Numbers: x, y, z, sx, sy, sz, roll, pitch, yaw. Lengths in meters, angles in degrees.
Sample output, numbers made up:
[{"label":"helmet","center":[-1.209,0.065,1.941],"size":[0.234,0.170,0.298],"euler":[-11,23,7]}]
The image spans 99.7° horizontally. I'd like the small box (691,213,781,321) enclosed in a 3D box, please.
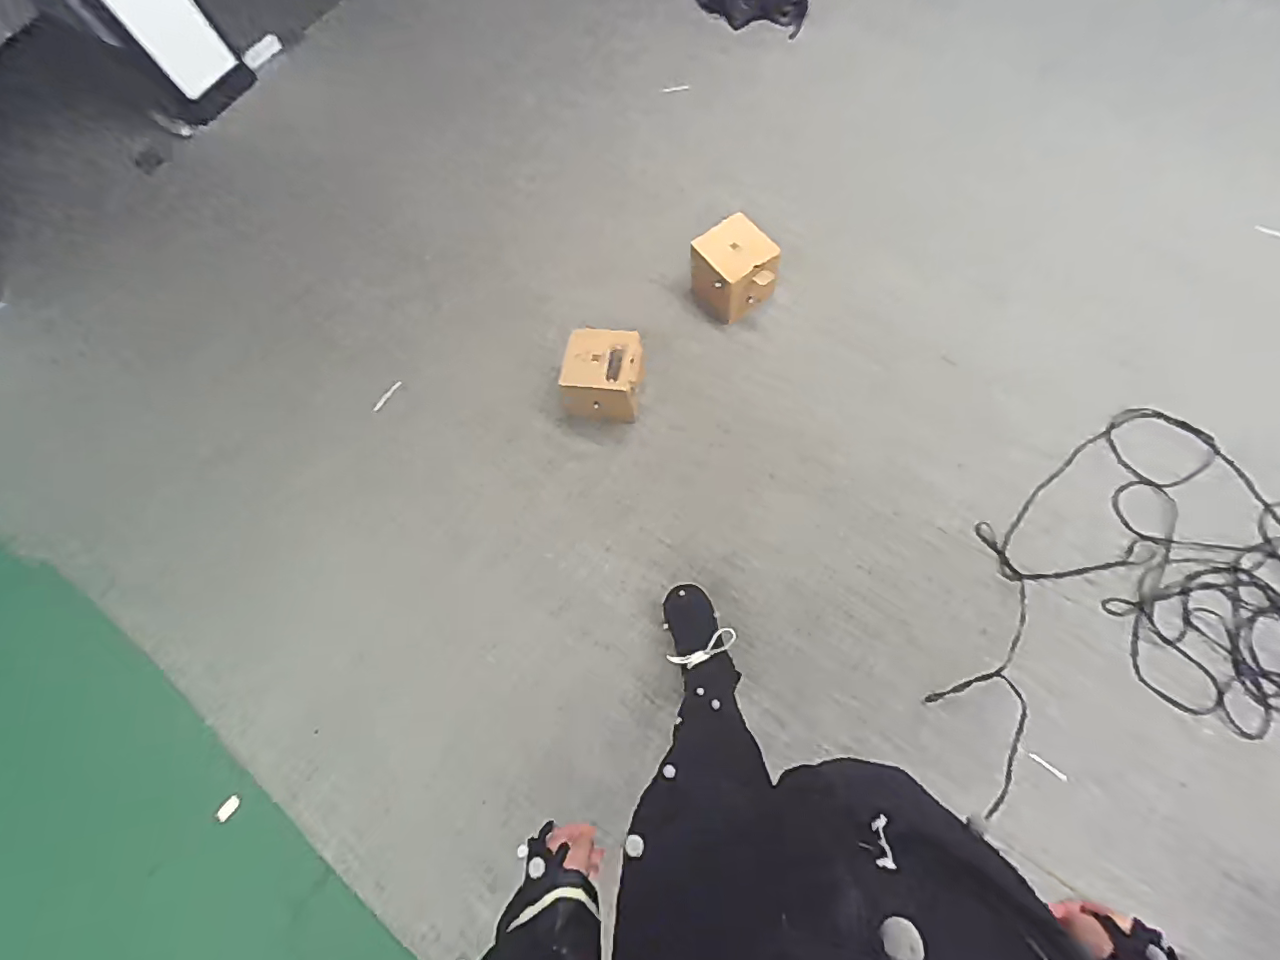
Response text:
[{"label":"small box","center":[0.250,-0.566,1.454],"size":[0.168,0.176,0.179],"euler":[-35,70,-7]}]
